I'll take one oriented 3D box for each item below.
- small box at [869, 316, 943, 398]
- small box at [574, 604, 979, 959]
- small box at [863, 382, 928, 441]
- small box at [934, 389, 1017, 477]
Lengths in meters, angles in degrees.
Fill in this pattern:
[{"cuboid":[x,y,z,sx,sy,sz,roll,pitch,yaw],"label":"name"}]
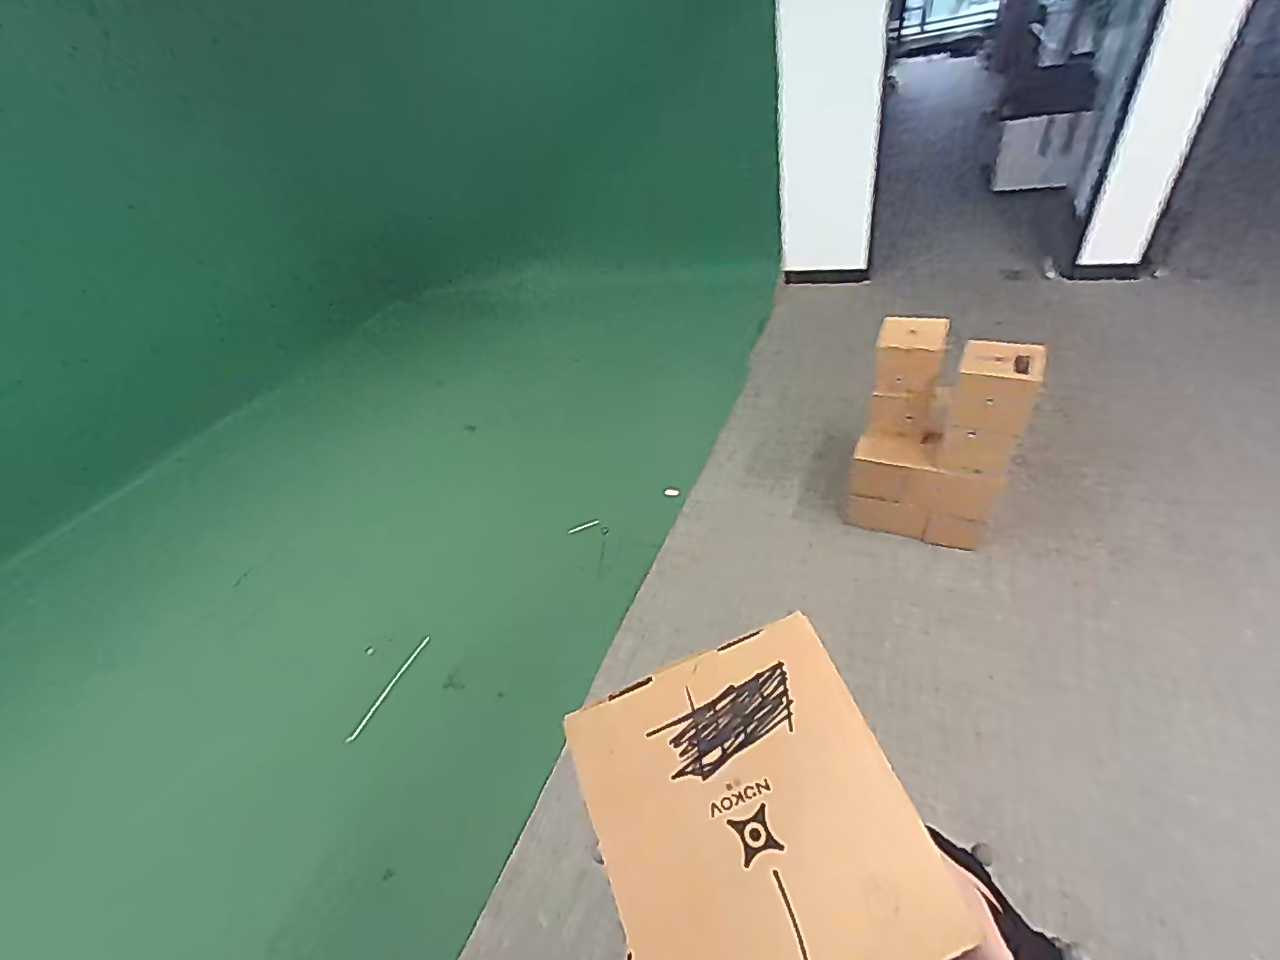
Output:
[{"cuboid":[0.783,-0.365,1.601,0.168,0.176,0.179,11,47,27],"label":"small box"},{"cuboid":[0.071,0.213,0.368,0.168,0.176,0.179,-22,62,-4],"label":"small box"},{"cuboid":[0.810,-0.244,1.707,0.168,0.176,0.179,12,46,27],"label":"small box"},{"cuboid":[0.950,-0.135,1.539,0.168,0.176,0.179,13,47,28],"label":"small box"}]
